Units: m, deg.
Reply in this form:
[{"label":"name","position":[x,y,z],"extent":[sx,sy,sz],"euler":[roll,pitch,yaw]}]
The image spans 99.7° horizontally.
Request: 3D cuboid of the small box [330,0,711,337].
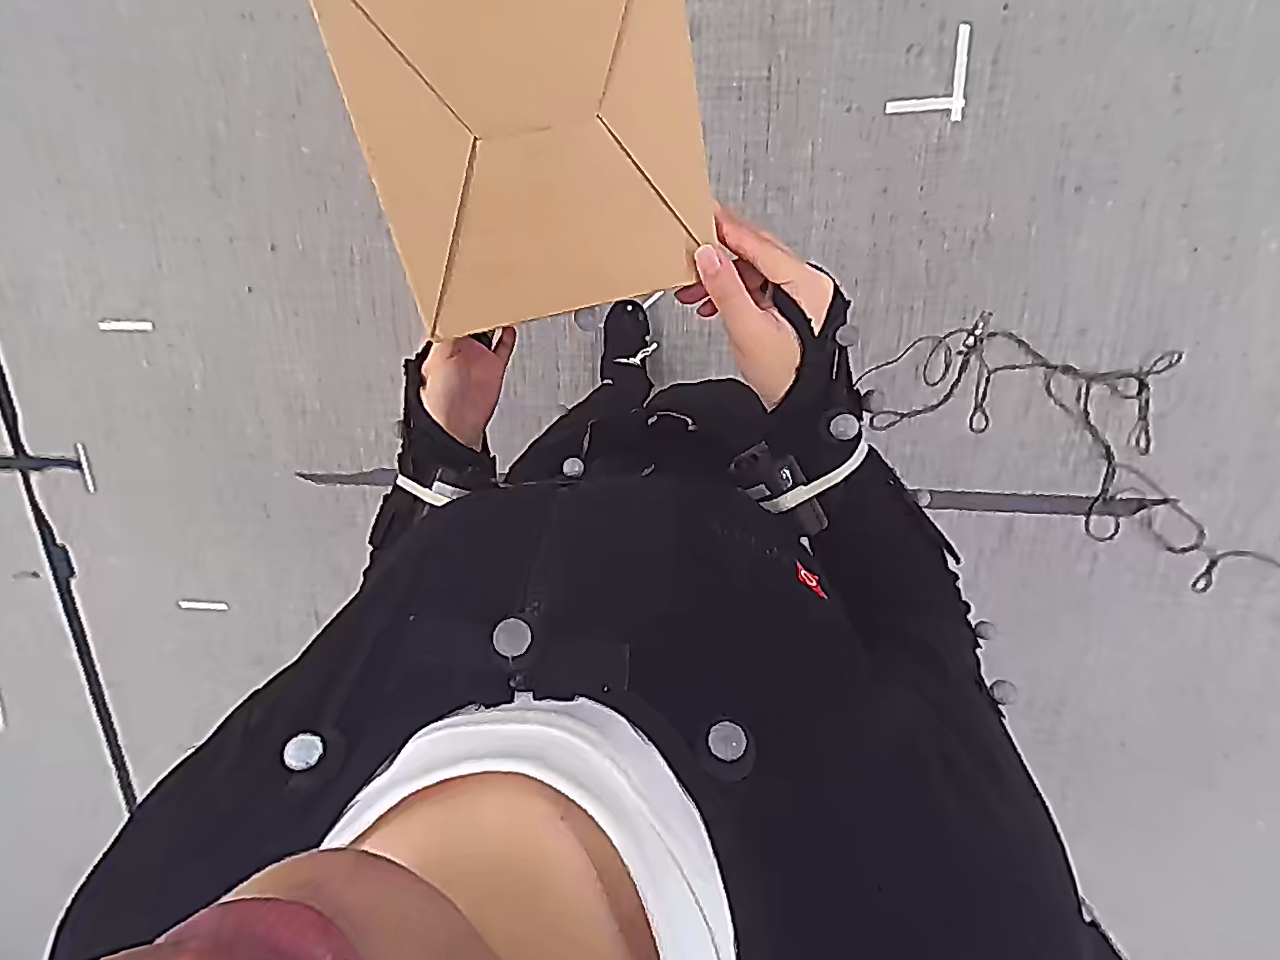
[{"label":"small box","position":[-0.064,-0.200,0.340],"extent":[0.168,0.176,0.179],"euler":[-14,113,-6]}]
